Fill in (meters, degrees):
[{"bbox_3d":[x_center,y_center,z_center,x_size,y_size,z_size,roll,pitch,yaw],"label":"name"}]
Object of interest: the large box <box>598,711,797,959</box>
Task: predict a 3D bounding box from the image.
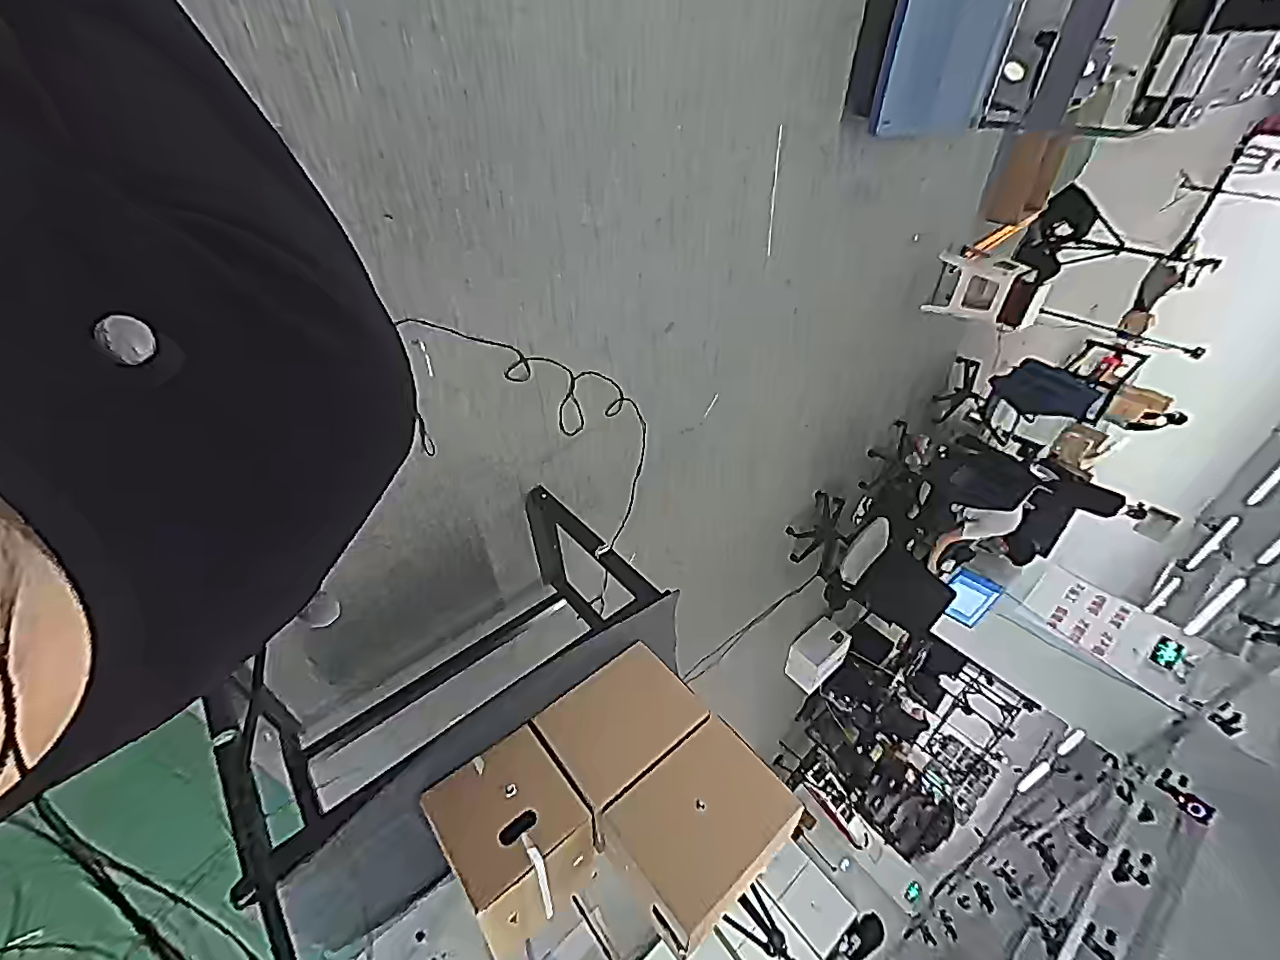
[{"bbox_3d":[0.142,0.909,1.414,0.408,0.320,0.320,-28,138,-31],"label":"large box"}]
